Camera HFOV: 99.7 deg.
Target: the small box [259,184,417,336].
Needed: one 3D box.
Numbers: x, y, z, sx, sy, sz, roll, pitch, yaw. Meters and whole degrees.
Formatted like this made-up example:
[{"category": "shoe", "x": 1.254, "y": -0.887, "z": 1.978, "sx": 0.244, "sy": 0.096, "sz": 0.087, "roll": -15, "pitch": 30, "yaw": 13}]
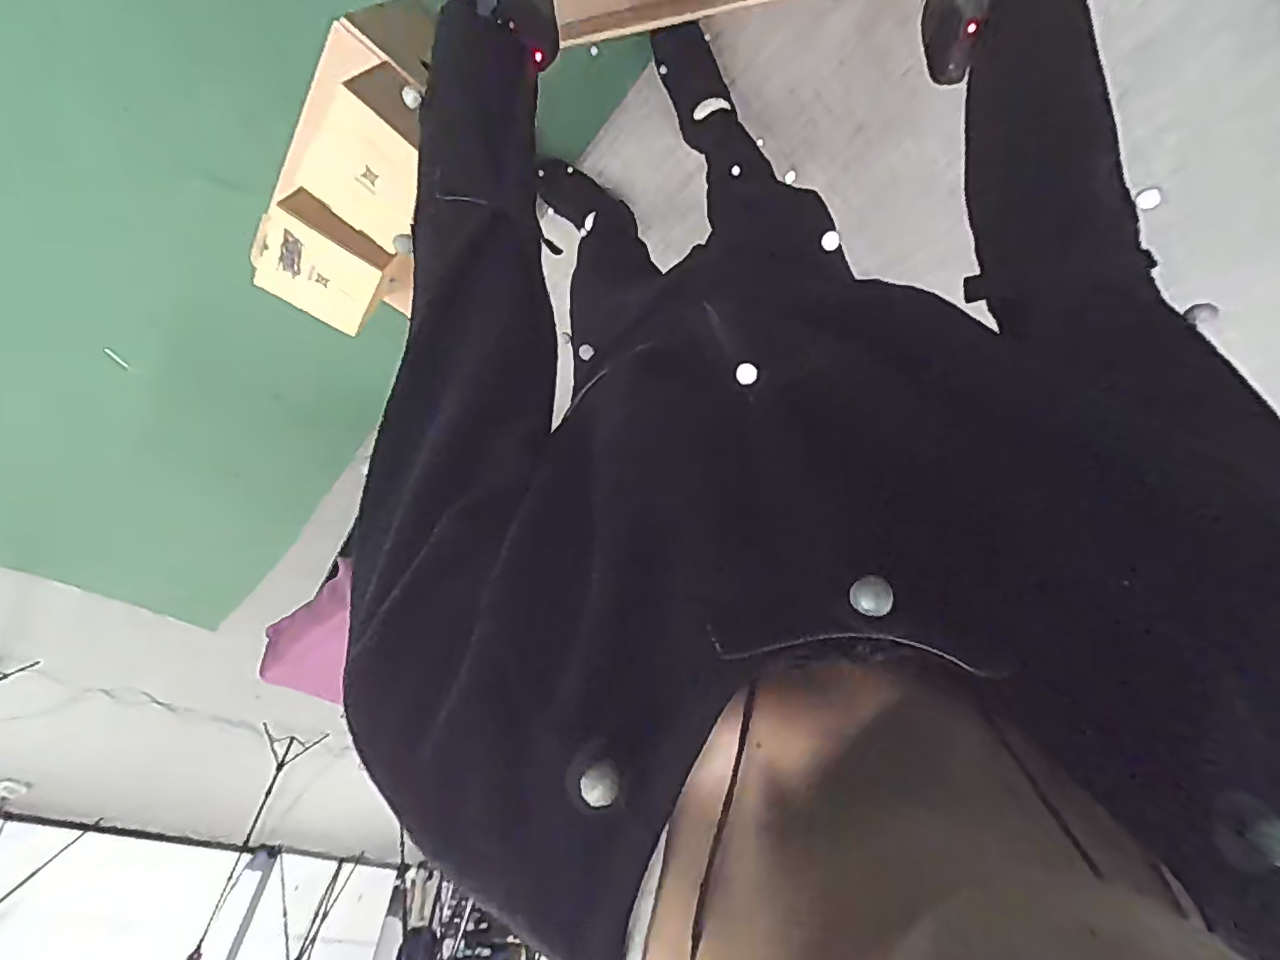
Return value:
[{"category": "small box", "x": -0.541, "y": -0.406, "z": 0.985, "sx": 0.179, "sy": 0.176, "sz": 0.168, "roll": 31, "pitch": 129, "yaw": -25}]
